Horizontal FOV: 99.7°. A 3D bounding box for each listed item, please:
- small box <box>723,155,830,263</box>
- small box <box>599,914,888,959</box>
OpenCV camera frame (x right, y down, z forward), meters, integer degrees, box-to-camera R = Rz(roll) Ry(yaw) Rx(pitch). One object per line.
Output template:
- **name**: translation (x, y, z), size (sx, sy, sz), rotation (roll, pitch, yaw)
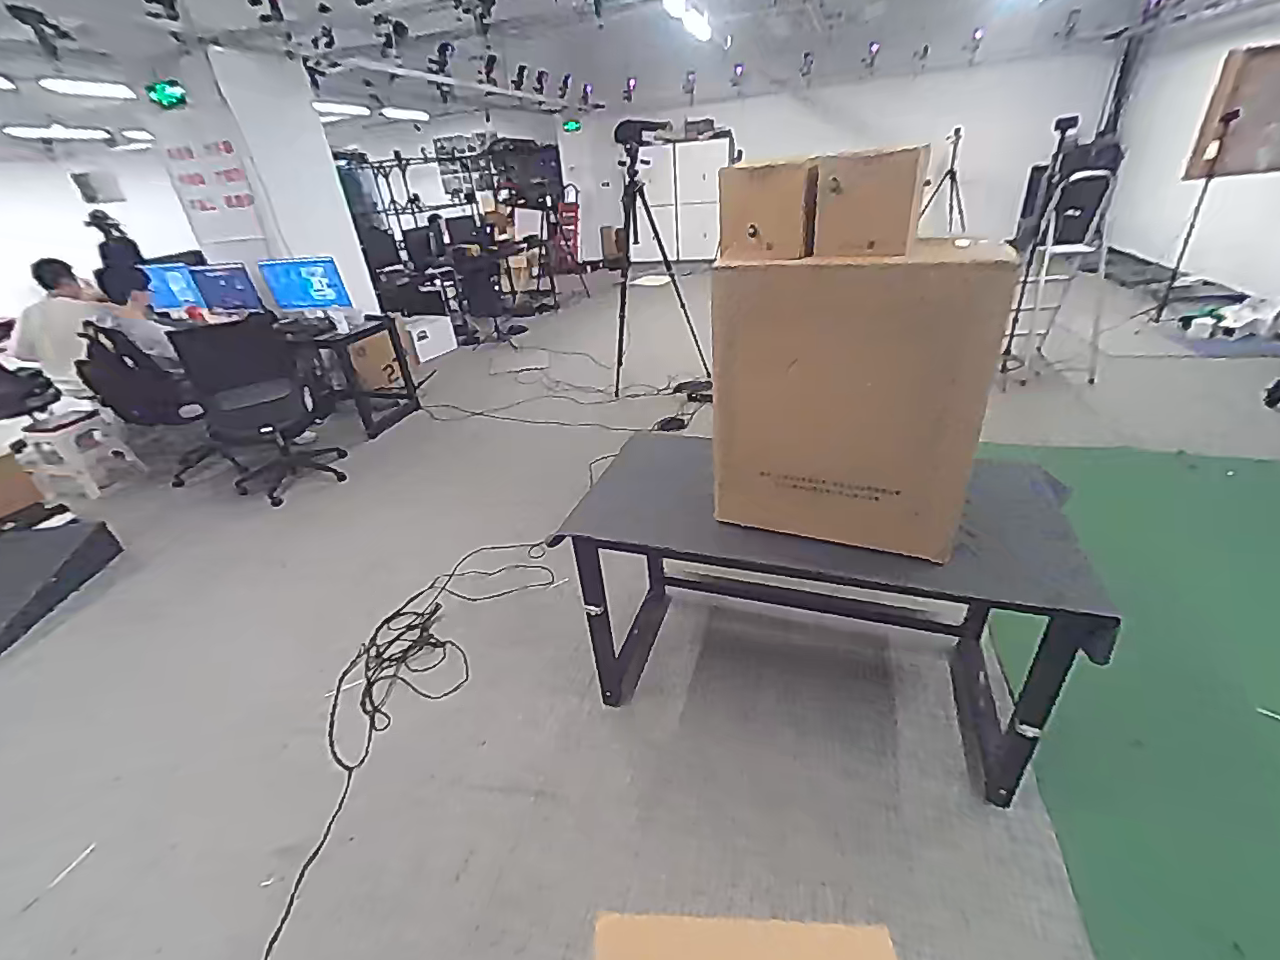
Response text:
- **small box**: translation (0.271, -0.543, 1.081), size (0.168, 0.176, 0.179), rotation (12, 37, 27)
- **small box**: translation (0.053, 0.371, 0.291), size (0.168, 0.176, 0.179), rotation (1, 37, 1)
